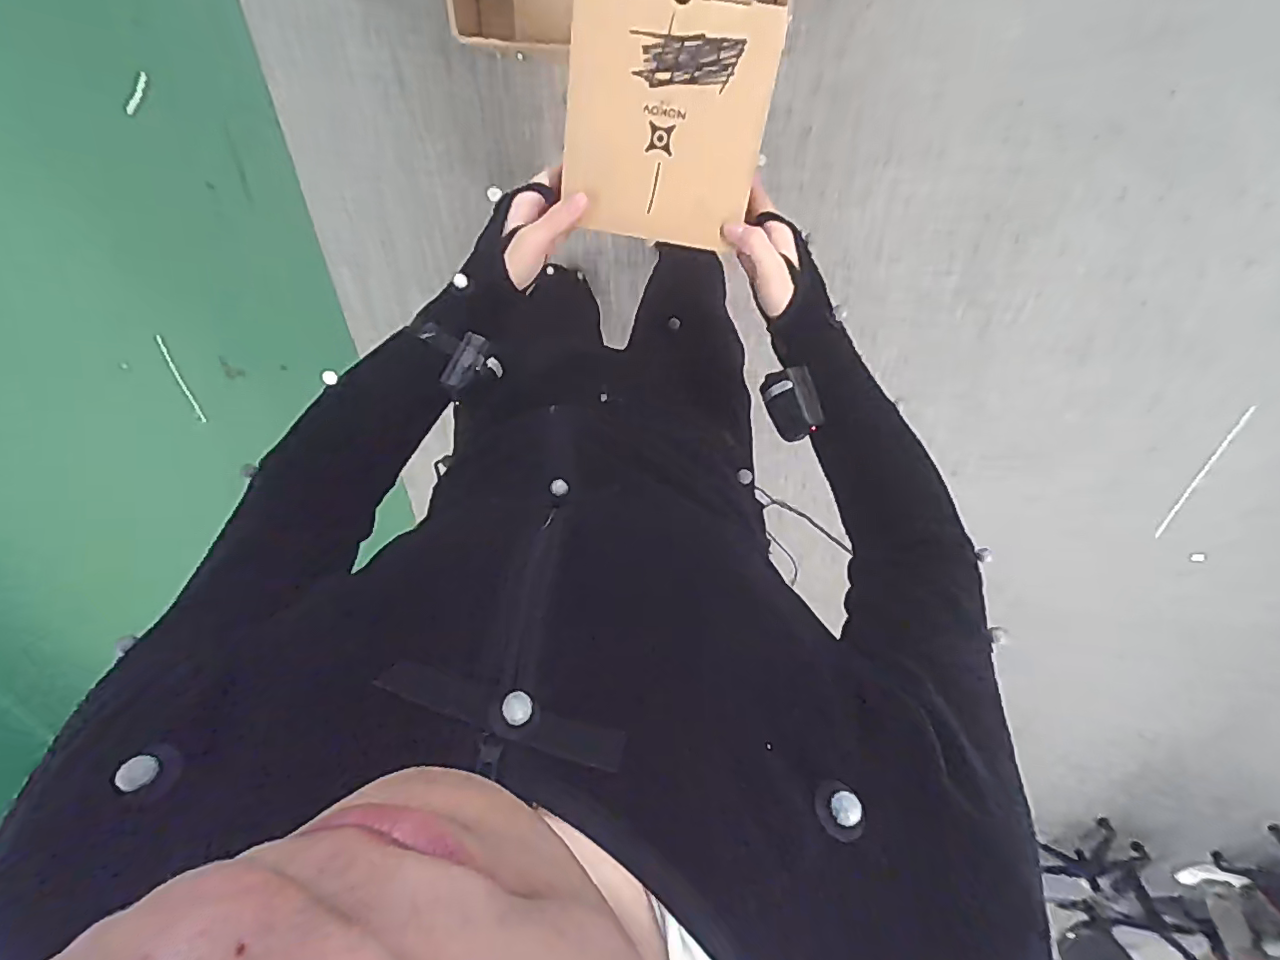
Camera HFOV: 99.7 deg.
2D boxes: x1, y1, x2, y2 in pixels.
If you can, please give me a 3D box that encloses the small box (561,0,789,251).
[{"bbox_3d":[0.028,-0.335,0.519,0.168,0.176,0.179,10,120,0],"label":"small box"}]
